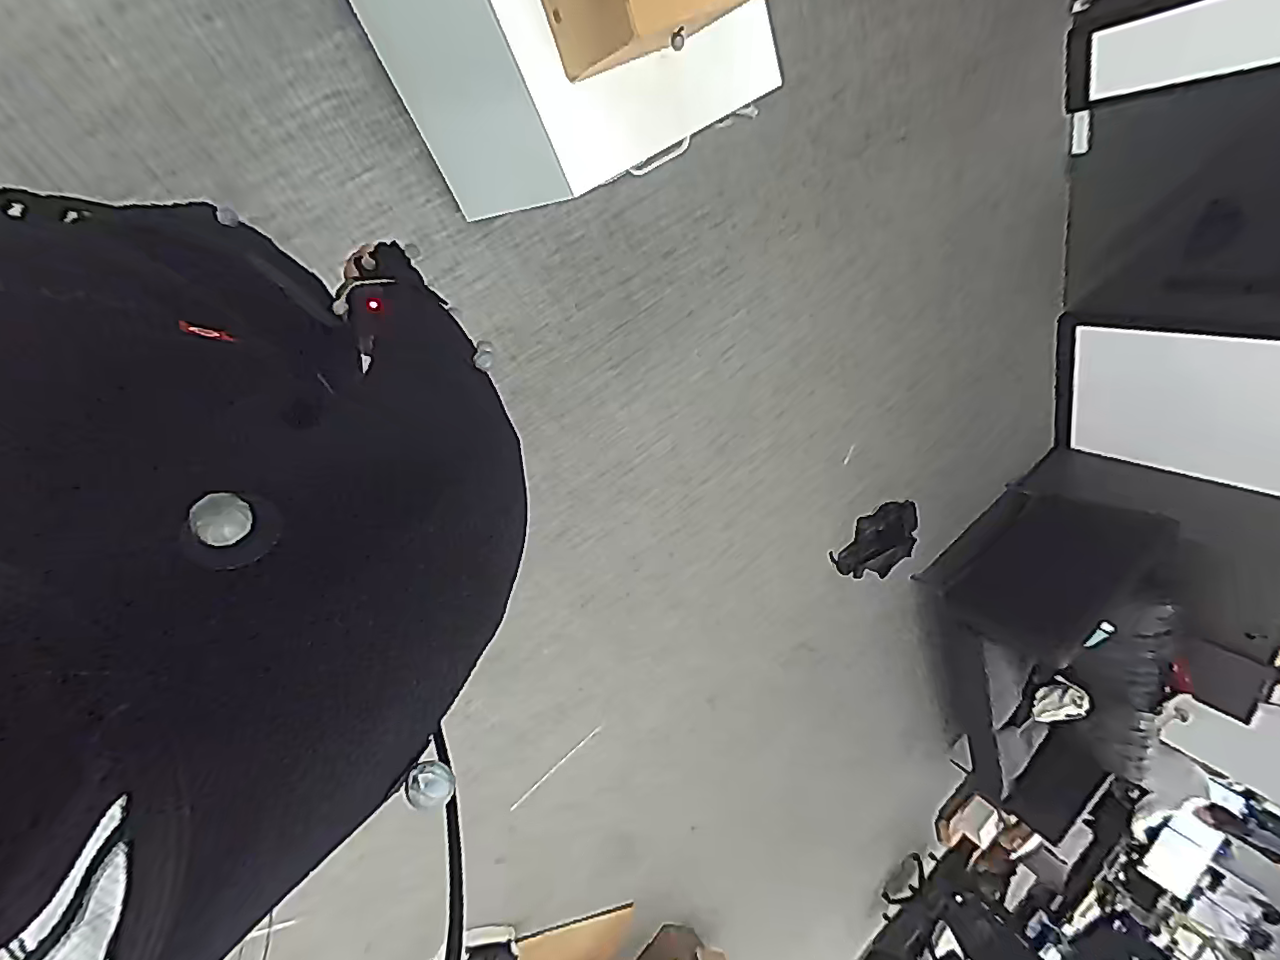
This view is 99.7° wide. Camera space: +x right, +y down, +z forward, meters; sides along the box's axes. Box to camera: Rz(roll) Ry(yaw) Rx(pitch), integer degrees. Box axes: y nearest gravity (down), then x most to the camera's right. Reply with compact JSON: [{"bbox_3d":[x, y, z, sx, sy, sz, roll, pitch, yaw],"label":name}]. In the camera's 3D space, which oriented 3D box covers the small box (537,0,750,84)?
[{"bbox_3d":[-0.009,-0.580,0.605,0.179,0.176,0.168,-34,124,-18],"label":"small box"}]
